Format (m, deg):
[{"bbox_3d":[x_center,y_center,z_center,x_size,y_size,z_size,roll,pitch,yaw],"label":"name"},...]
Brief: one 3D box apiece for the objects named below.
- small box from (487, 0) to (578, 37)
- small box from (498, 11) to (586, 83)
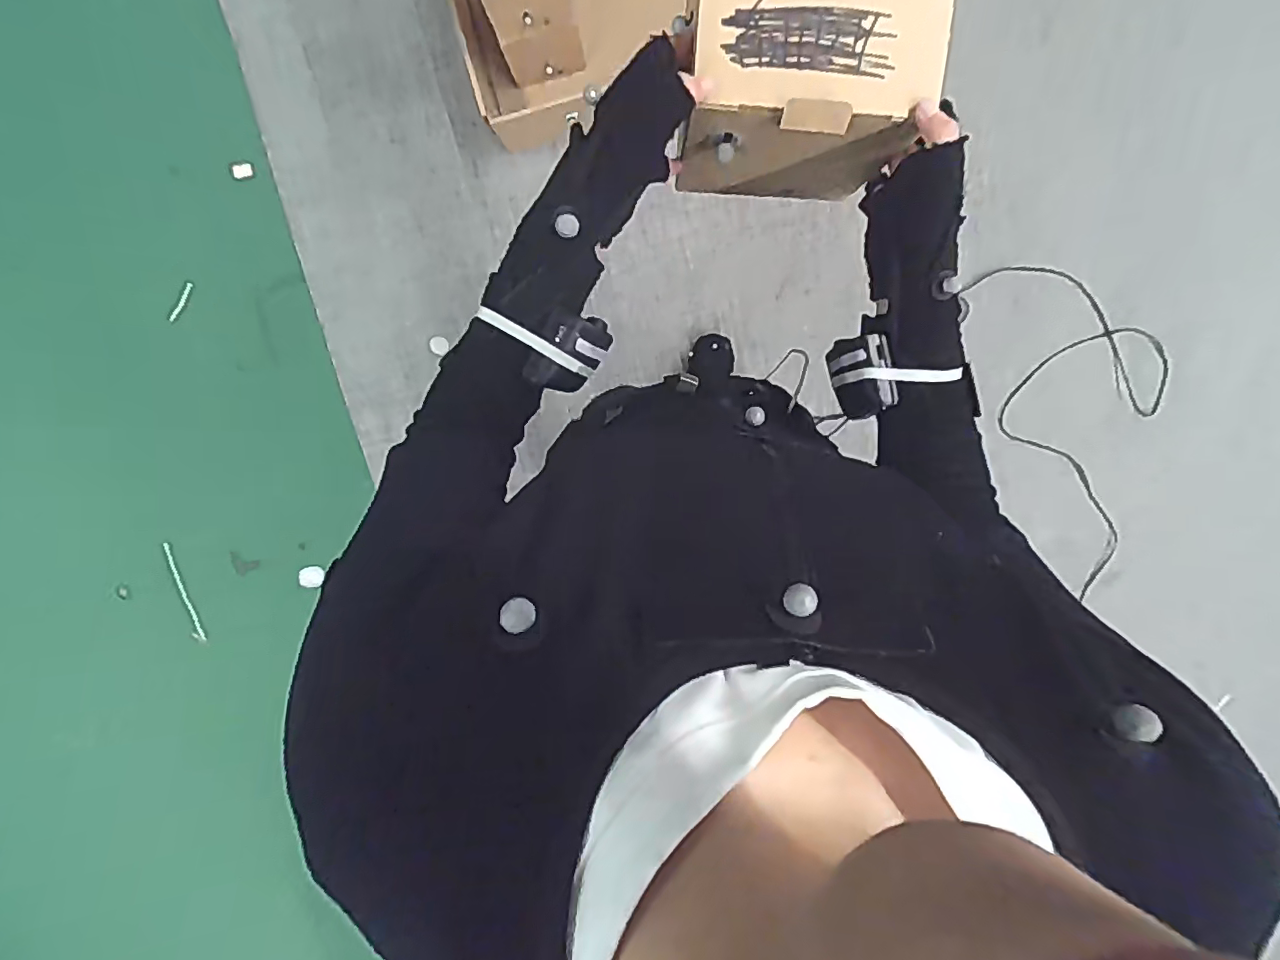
[{"bbox_3d":[-0.219,-0.968,0.983,0.168,0.176,0.179,-15,100,3],"label":"small box"},{"bbox_3d":[-0.218,-0.995,1.143,0.168,0.176,0.179,-13,100,3],"label":"small box"}]
